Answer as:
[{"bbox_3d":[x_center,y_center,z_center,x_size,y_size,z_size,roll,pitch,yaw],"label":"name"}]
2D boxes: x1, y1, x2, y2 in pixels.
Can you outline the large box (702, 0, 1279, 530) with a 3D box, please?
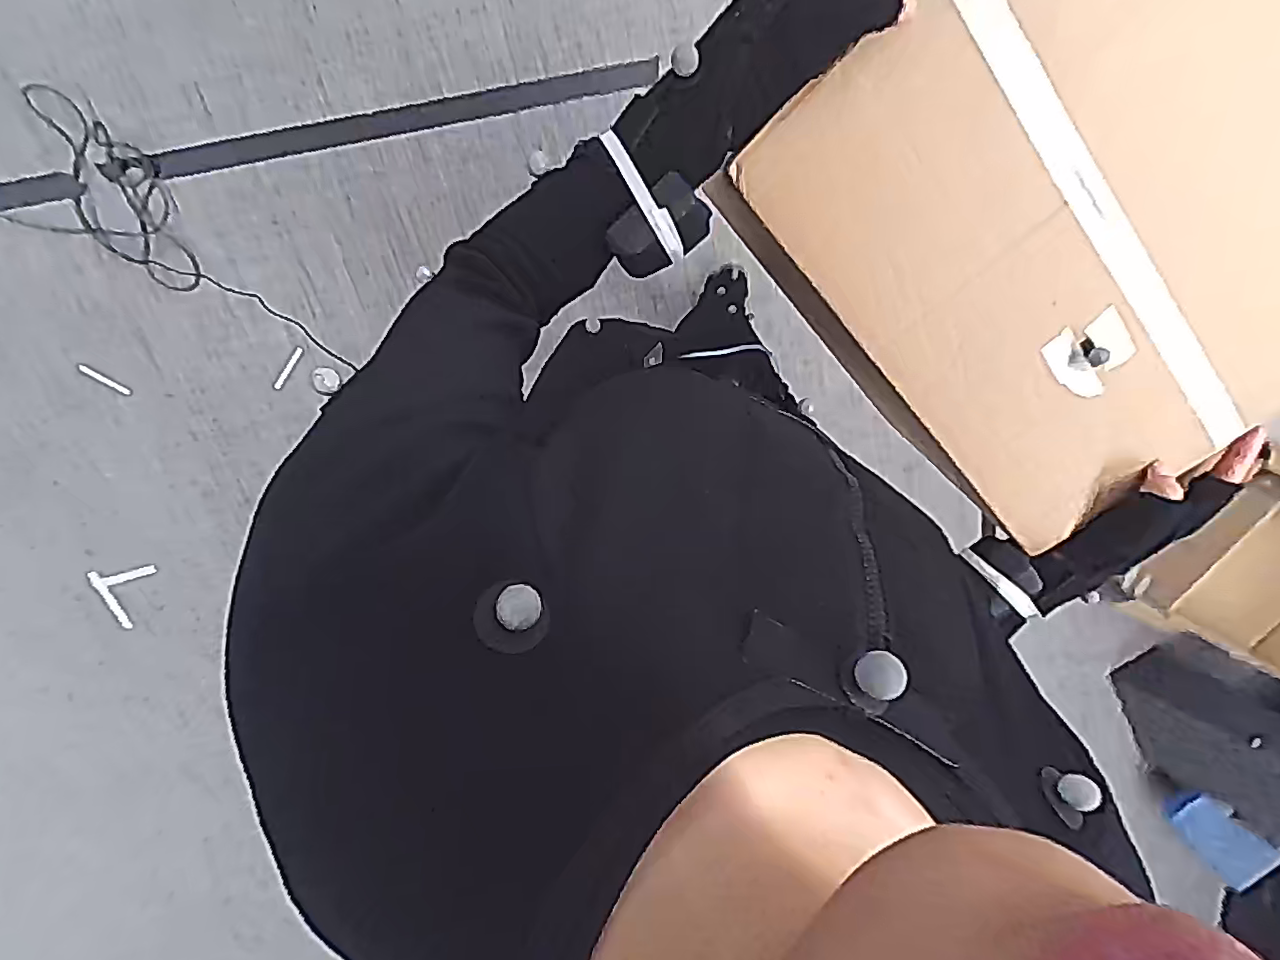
[{"bbox_3d":[0.308,-0.240,0.501,0.320,0.320,0.408,-40,109,20],"label":"large box"}]
